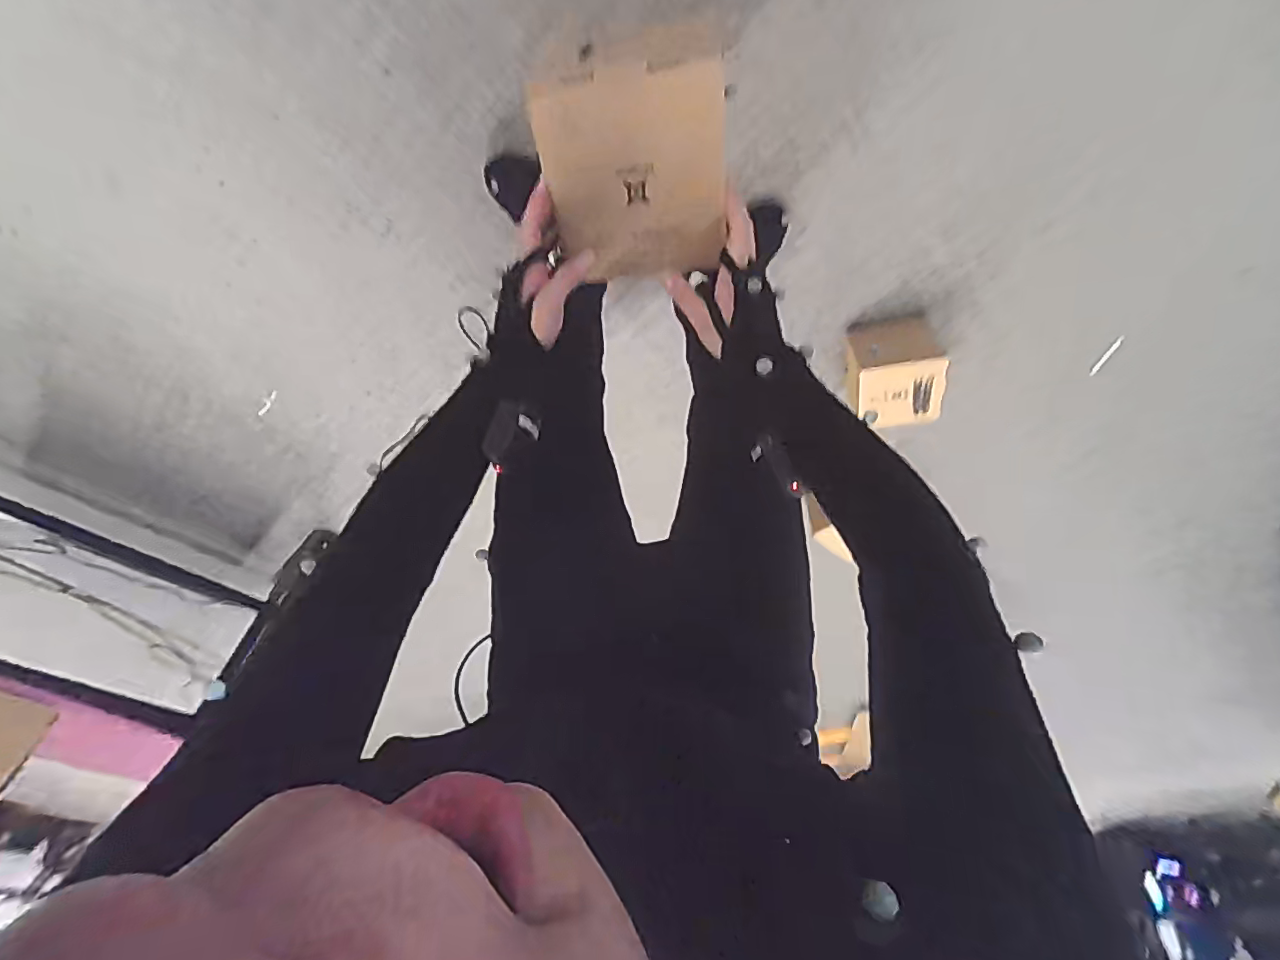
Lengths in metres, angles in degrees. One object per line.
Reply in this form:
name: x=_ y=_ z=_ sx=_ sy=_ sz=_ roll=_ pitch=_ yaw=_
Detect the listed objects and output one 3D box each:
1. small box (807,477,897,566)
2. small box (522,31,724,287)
small box: x=0.606 y=0.113 z=1.566 sx=0.179 sy=0.176 sz=0.168 roll=35 pitch=129 yaw=-26
small box: x=-0.004 y=-0.322 z=0.542 sx=0.168 sy=0.176 sz=0.179 roll=-3 pitch=139 yaw=8
